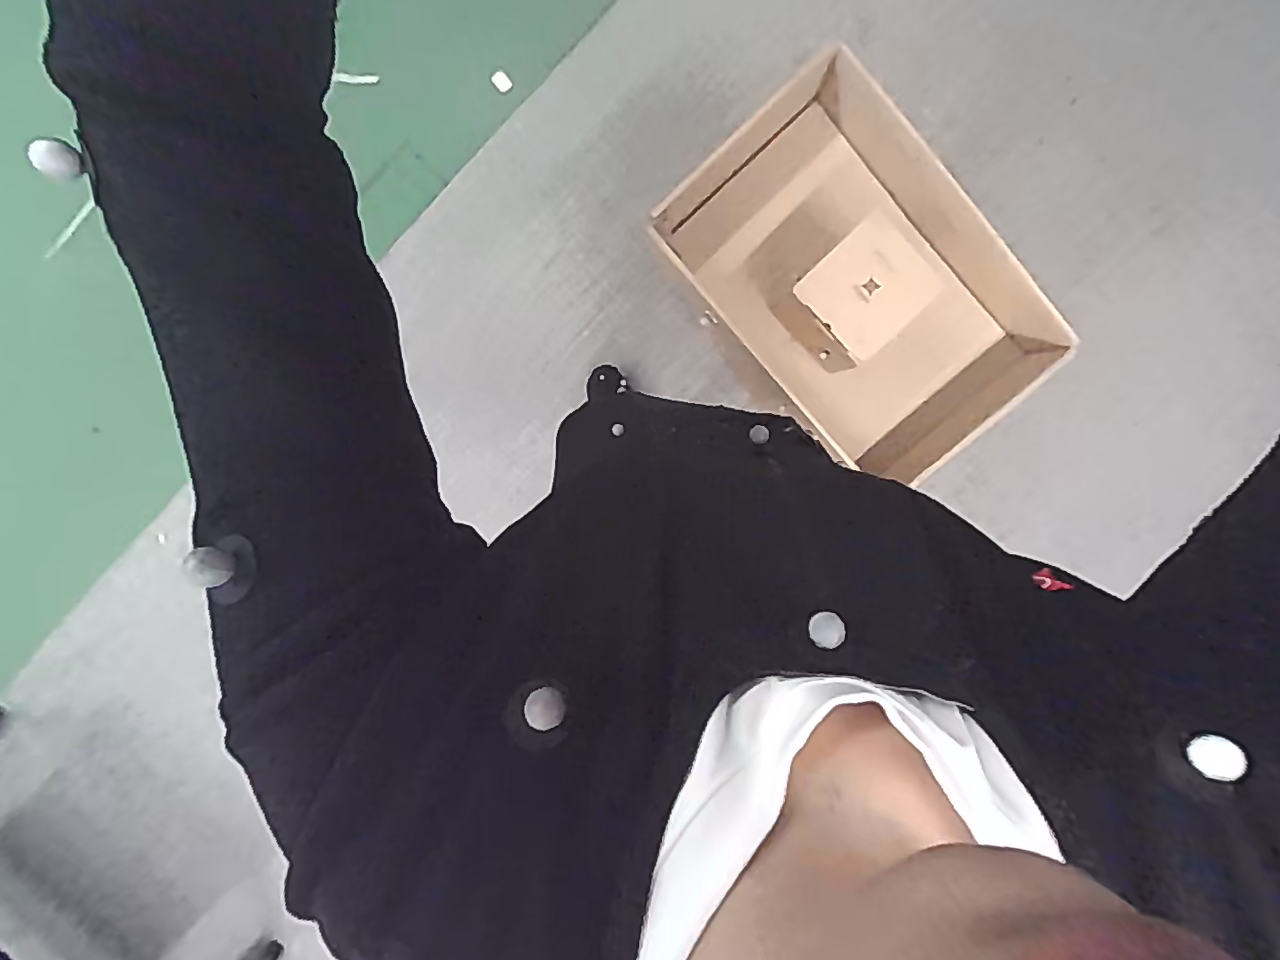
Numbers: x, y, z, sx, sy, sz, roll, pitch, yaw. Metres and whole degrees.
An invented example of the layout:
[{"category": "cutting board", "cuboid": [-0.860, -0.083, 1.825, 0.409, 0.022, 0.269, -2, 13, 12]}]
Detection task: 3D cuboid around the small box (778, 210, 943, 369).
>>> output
[{"category": "small box", "cuboid": [0.355, -0.306, 0.917, 0.179, 0.176, 0.168, -43, 95, 5]}]
